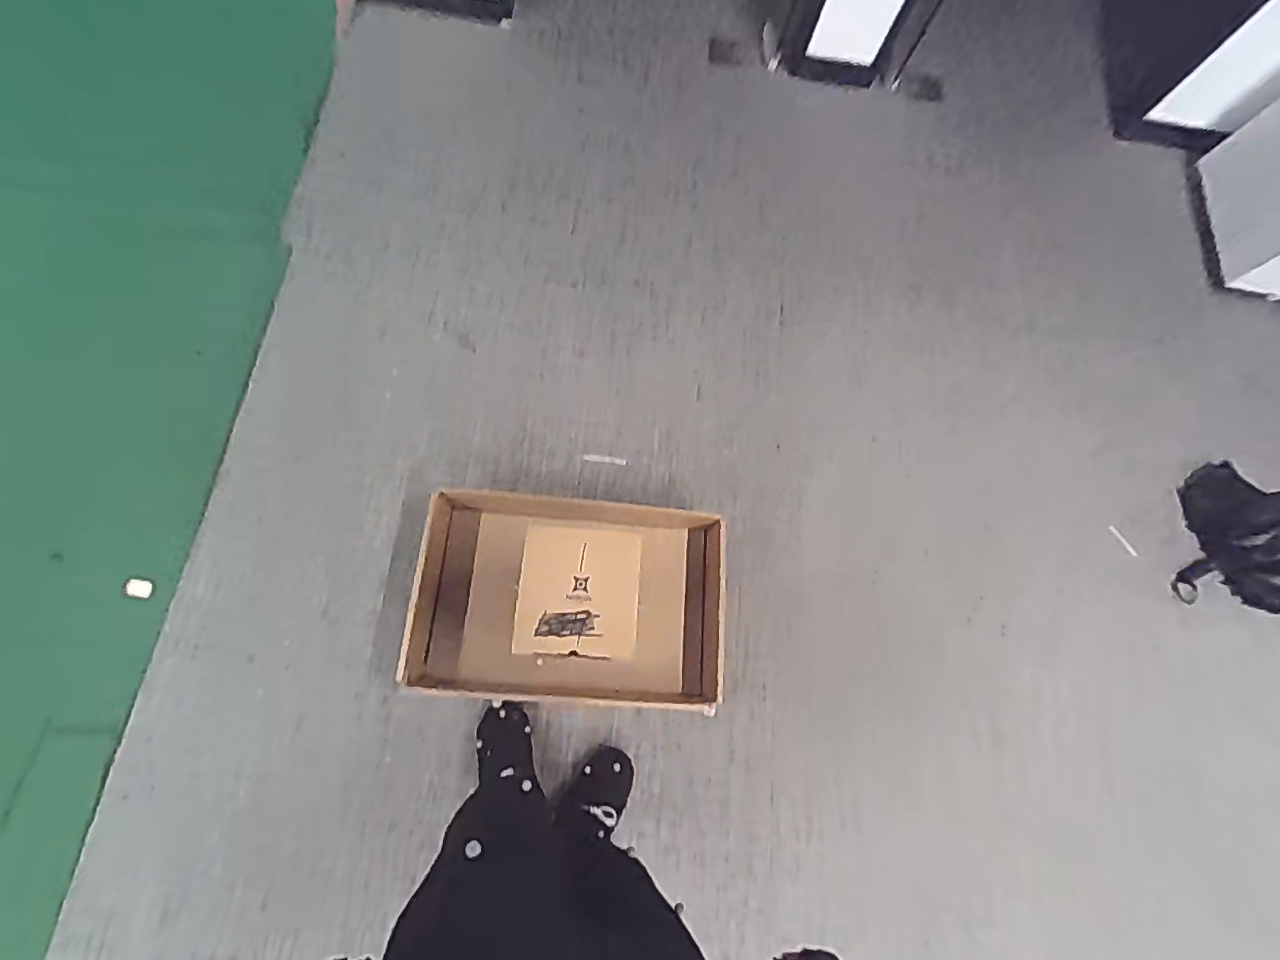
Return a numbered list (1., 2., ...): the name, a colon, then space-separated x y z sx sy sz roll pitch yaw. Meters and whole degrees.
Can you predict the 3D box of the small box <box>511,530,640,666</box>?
1. small box: -0.094 0.186 0.823 0.168 0.176 0.179 5 70 -5
